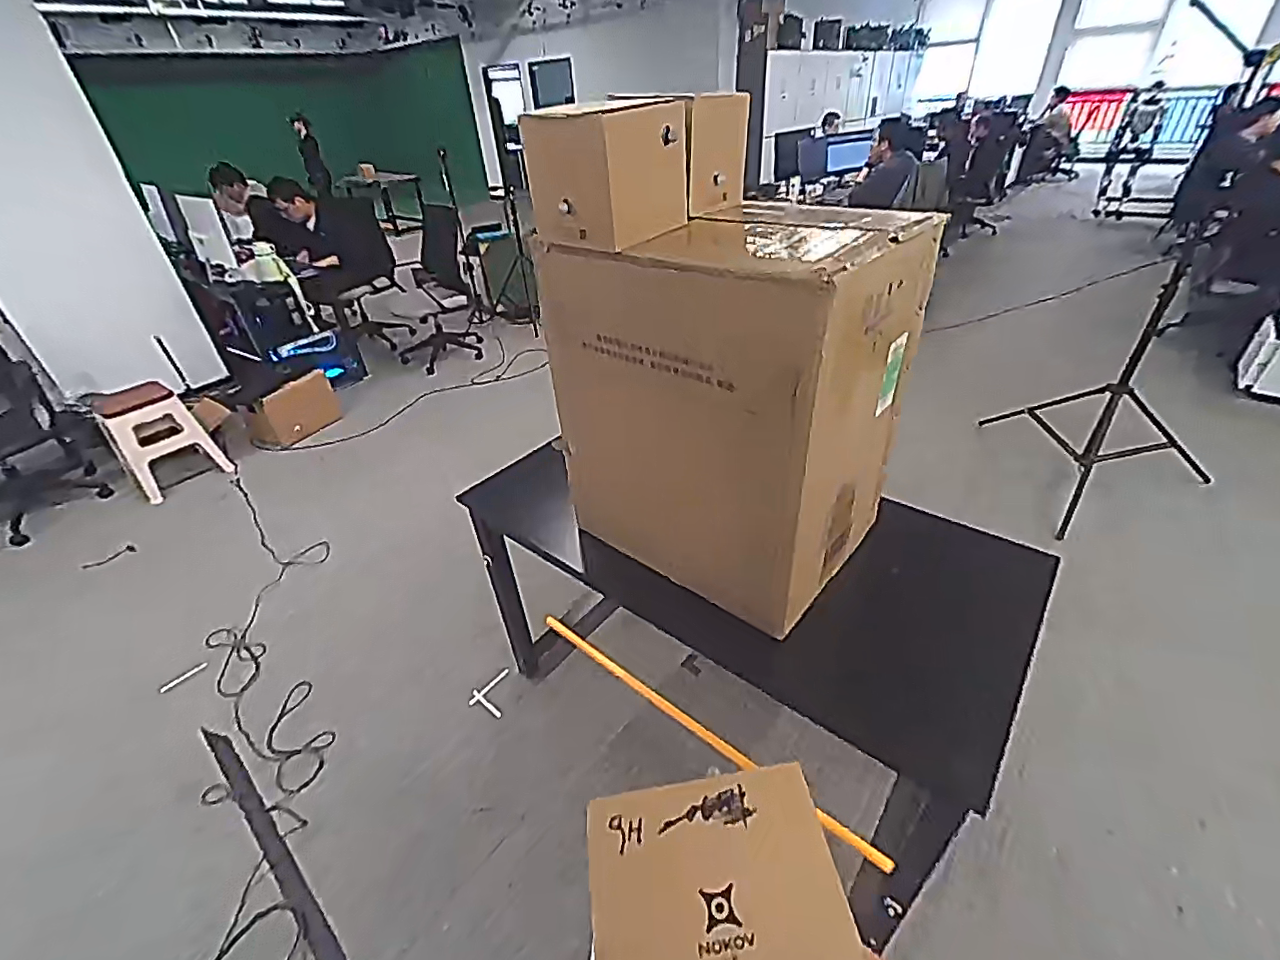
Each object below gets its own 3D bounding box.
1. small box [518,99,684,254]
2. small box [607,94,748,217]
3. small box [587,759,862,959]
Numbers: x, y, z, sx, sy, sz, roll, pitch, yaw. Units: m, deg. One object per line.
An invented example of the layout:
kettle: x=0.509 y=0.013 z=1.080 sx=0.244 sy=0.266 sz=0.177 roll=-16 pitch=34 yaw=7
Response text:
small box: x=-0.049 y=-0.452 z=0.799 sx=0.168 sy=0.176 sz=0.179 roll=24 pitch=47 yaw=33
small box: x=0.062 y=-0.556 z=0.927 sx=0.179 sy=0.176 sz=0.168 roll=25 pitch=43 yaw=33
small box: x=0.060 y=0.342 z=0.401 sx=0.168 sy=0.176 sz=0.179 roll=-10 pitch=42 yaw=-3
